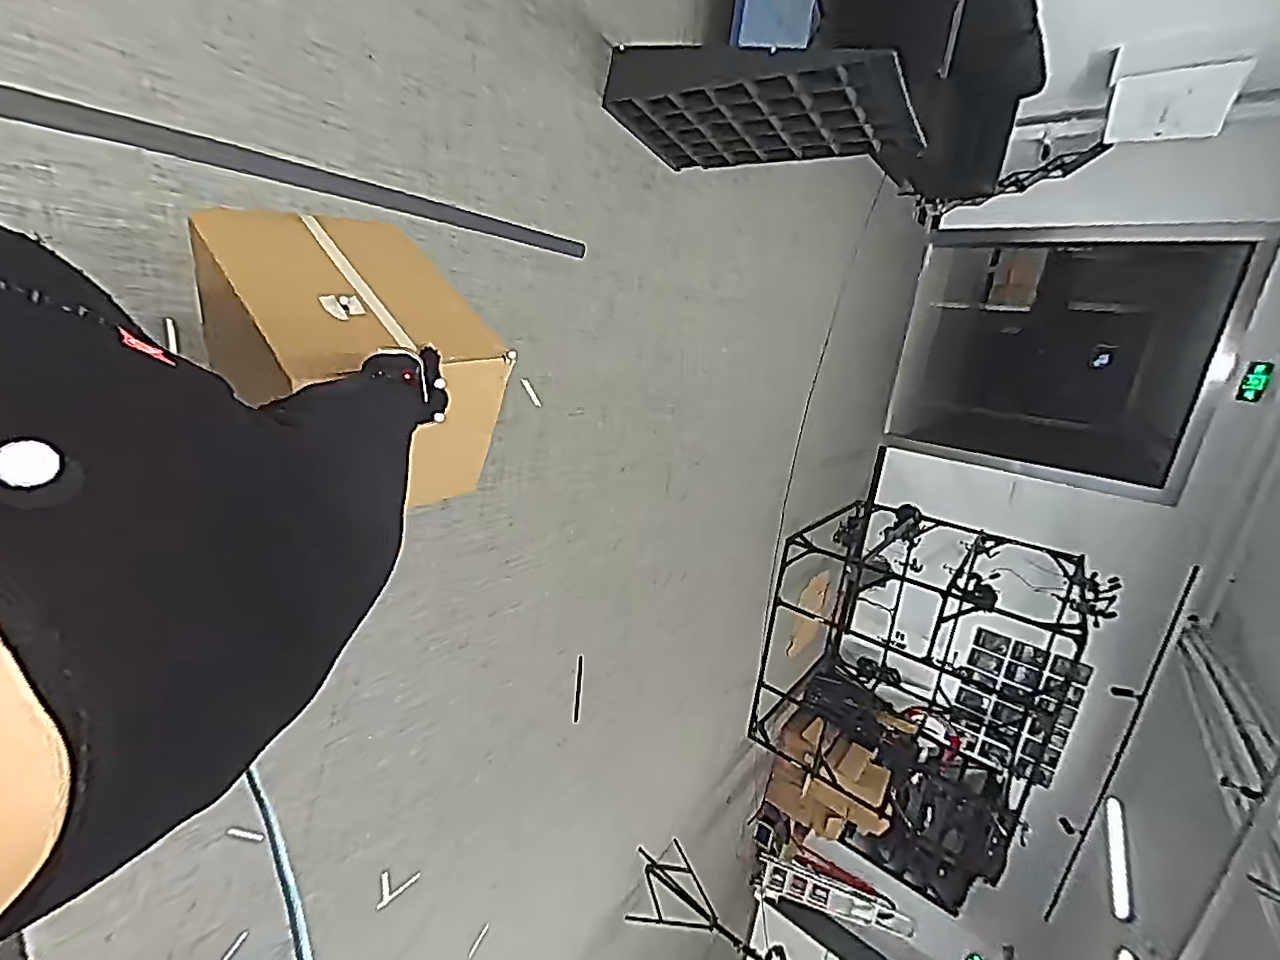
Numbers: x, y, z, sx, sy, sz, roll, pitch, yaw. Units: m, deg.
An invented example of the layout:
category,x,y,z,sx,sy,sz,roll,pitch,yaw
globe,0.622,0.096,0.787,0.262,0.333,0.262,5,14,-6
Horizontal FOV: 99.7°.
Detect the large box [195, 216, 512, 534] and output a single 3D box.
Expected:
category,x,y,z,sx,sy,sz,roll,pitch,yaw
large box,-0.491,-0.185,0.922,0.320,0.408,0.320,-20,151,-44
